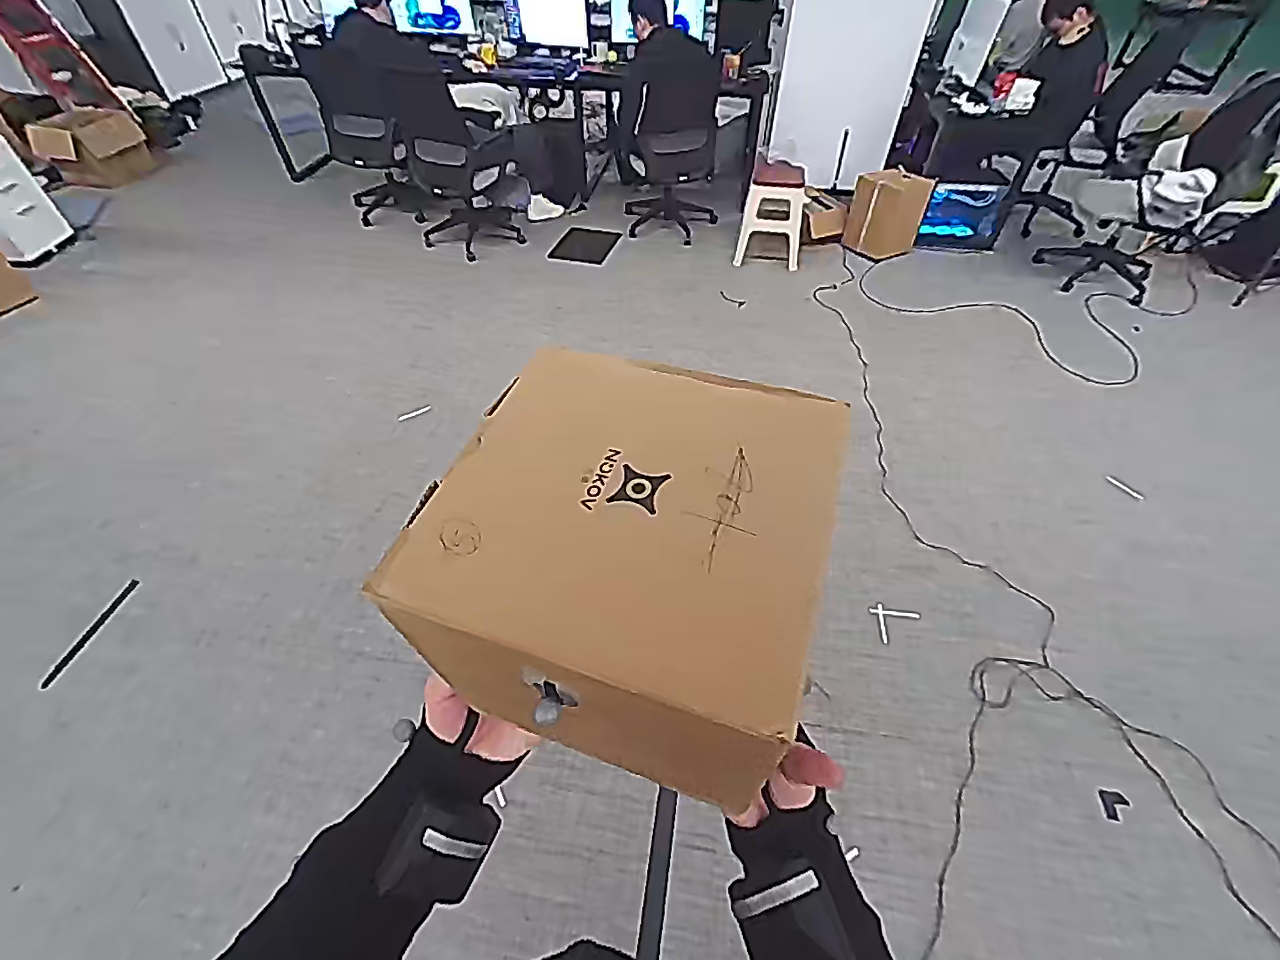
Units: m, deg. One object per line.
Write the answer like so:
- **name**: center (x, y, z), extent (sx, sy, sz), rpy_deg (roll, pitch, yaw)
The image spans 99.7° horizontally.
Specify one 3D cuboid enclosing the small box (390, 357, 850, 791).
- **small box**: center (0.003, 0.058, 0.316), extent (0.179, 0.176, 0.168), rpy_deg (15, 54, 14)
